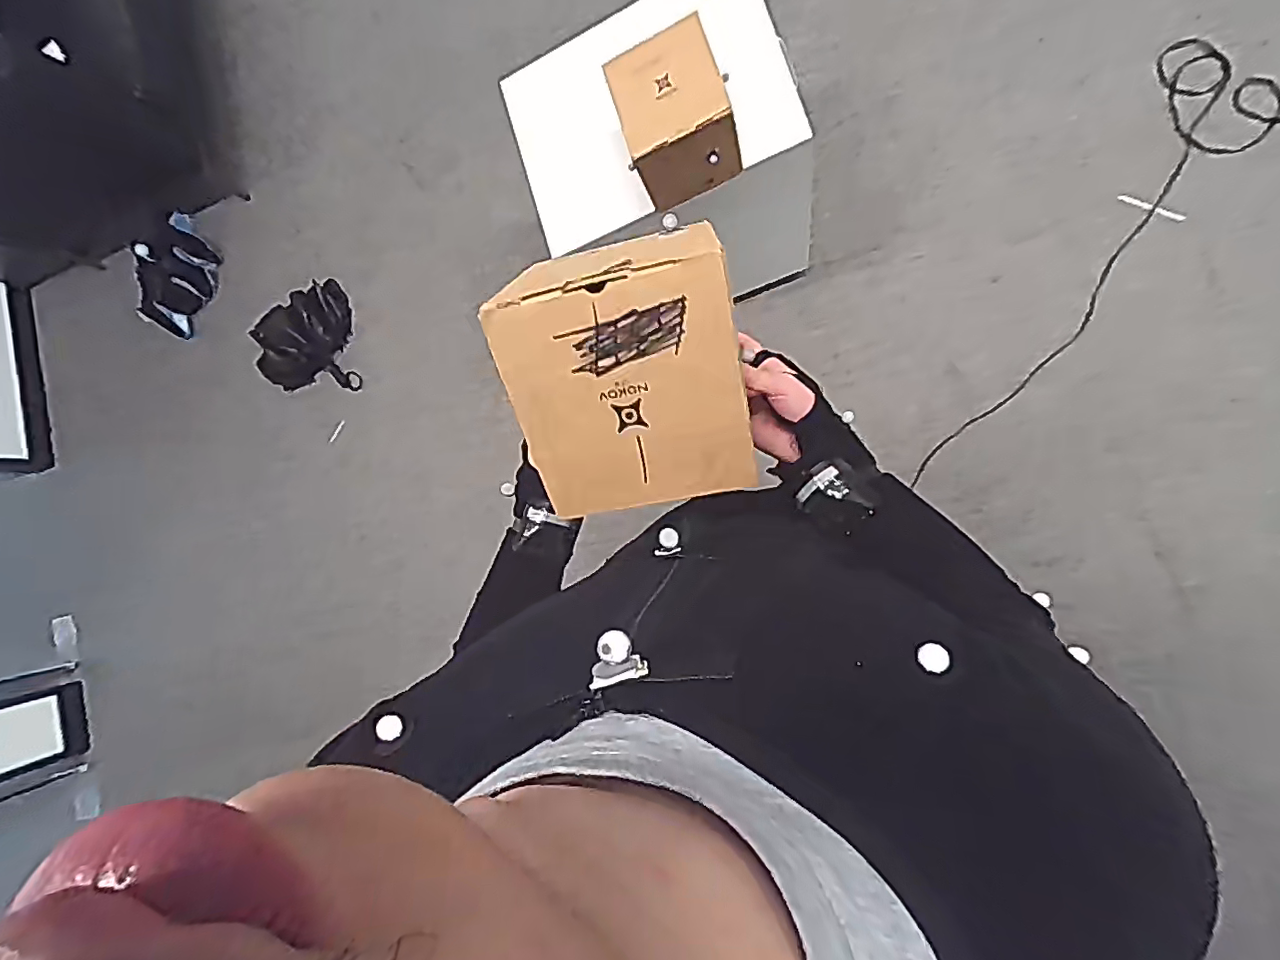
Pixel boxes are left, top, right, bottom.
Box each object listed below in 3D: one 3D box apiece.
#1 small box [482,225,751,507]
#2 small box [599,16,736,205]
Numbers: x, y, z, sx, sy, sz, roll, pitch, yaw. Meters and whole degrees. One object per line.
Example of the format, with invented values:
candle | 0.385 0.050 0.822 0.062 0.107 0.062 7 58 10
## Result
small box | -0.007 -0.104 0.455 0.168 0.176 0.179 -9 121 9
small box | 0.054 -0.596 0.905 0.168 0.176 0.179 -19 82 13
